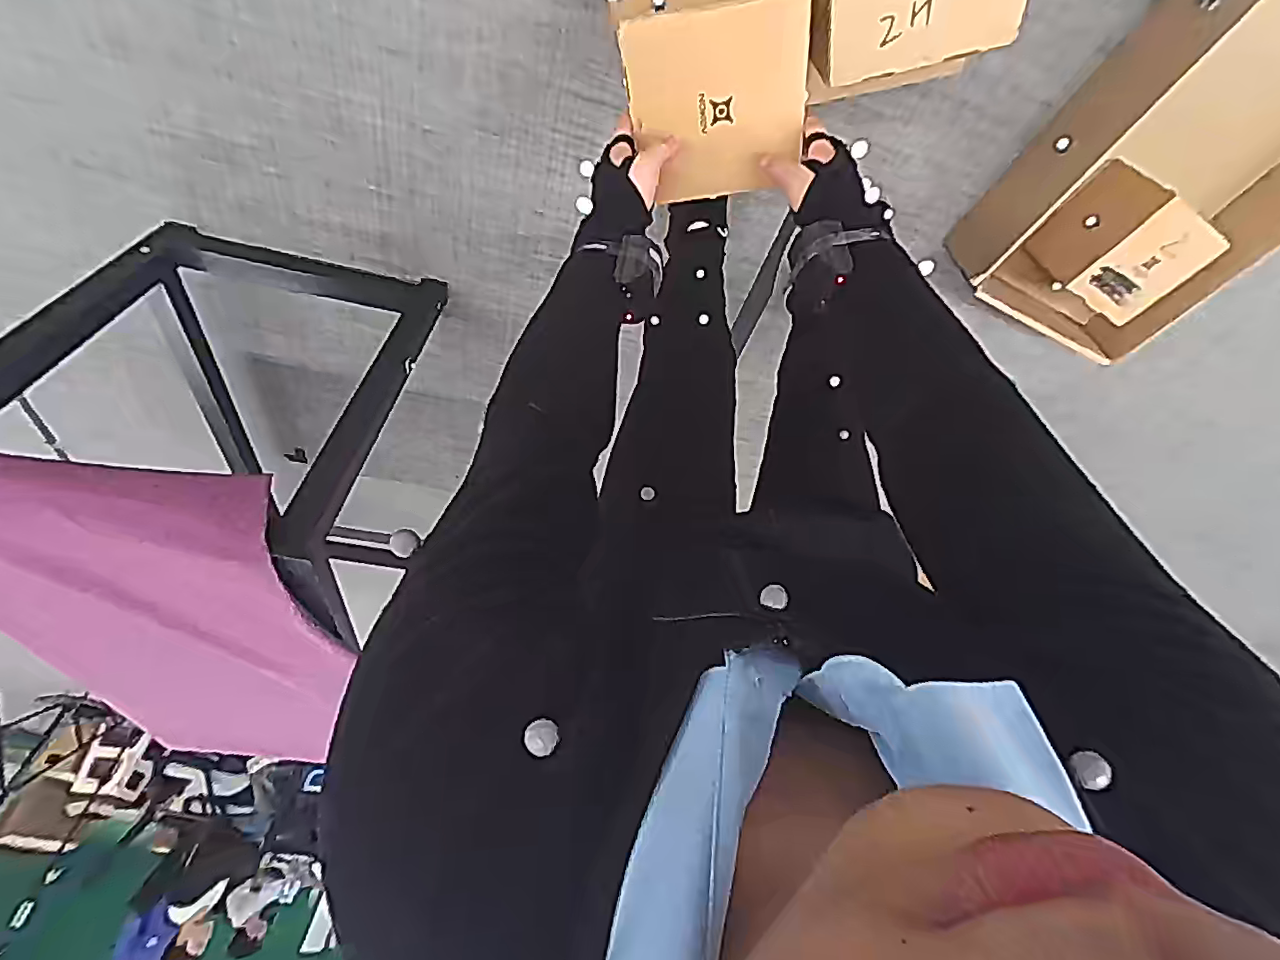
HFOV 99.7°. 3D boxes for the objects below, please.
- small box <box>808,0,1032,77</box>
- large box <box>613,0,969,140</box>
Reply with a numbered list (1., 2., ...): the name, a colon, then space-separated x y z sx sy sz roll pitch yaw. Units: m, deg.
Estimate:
1. small box: 0.249 -0.507 0.489 0.168 0.176 0.179 -6 139 12
2. large box: 0.170 -0.685 0.665 0.408 0.320 0.320 -6 138 11
